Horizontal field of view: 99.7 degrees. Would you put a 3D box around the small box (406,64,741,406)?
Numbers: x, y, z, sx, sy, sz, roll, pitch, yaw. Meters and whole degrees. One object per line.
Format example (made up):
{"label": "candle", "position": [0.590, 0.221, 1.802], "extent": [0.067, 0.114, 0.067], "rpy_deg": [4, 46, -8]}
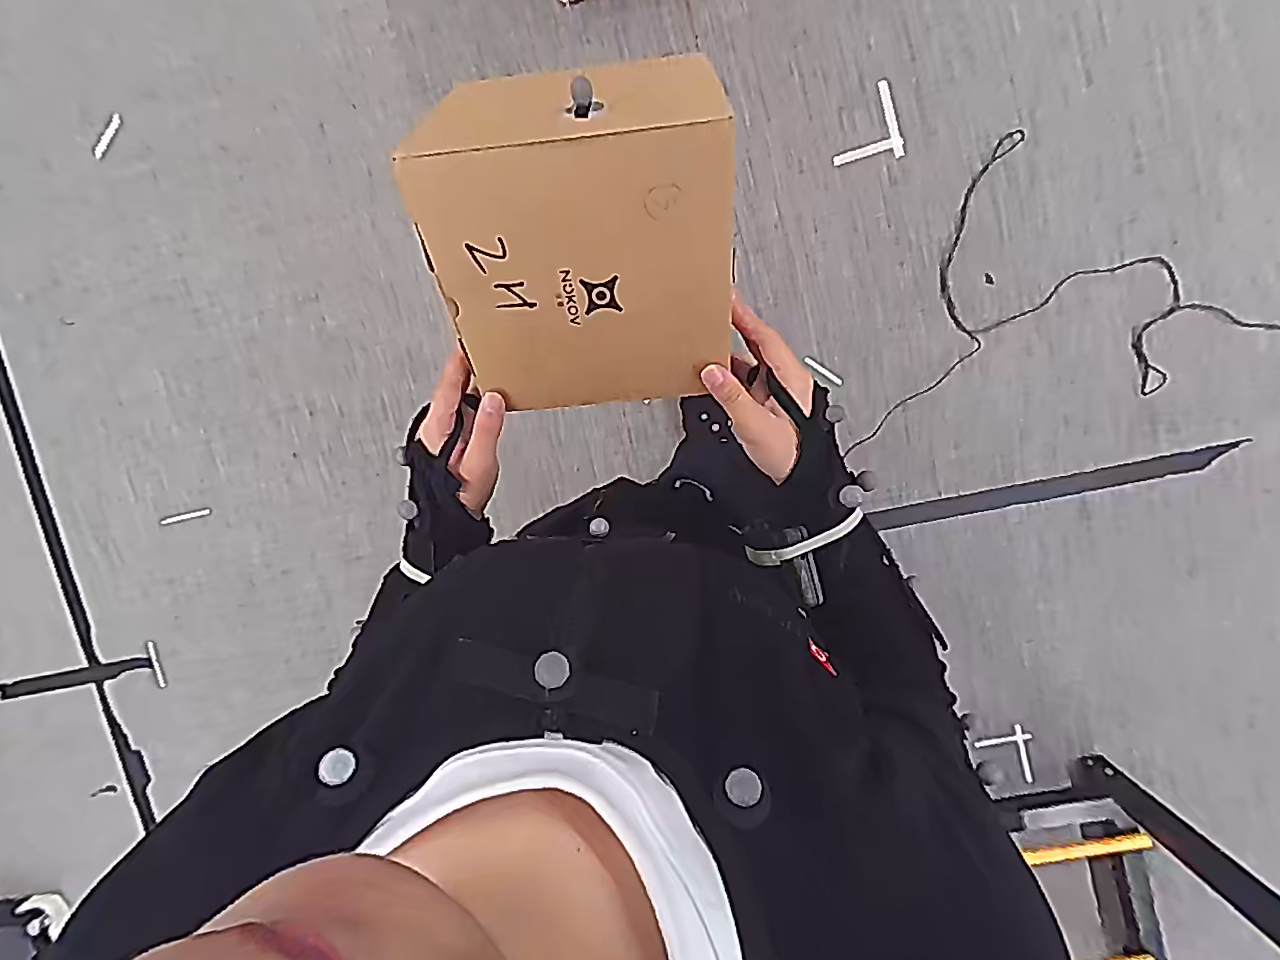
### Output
{"label": "small box", "position": [-0.031, -0.174, 0.385], "extent": [0.179, 0.176, 0.168], "rpy_deg": [-4, 136, 3]}
